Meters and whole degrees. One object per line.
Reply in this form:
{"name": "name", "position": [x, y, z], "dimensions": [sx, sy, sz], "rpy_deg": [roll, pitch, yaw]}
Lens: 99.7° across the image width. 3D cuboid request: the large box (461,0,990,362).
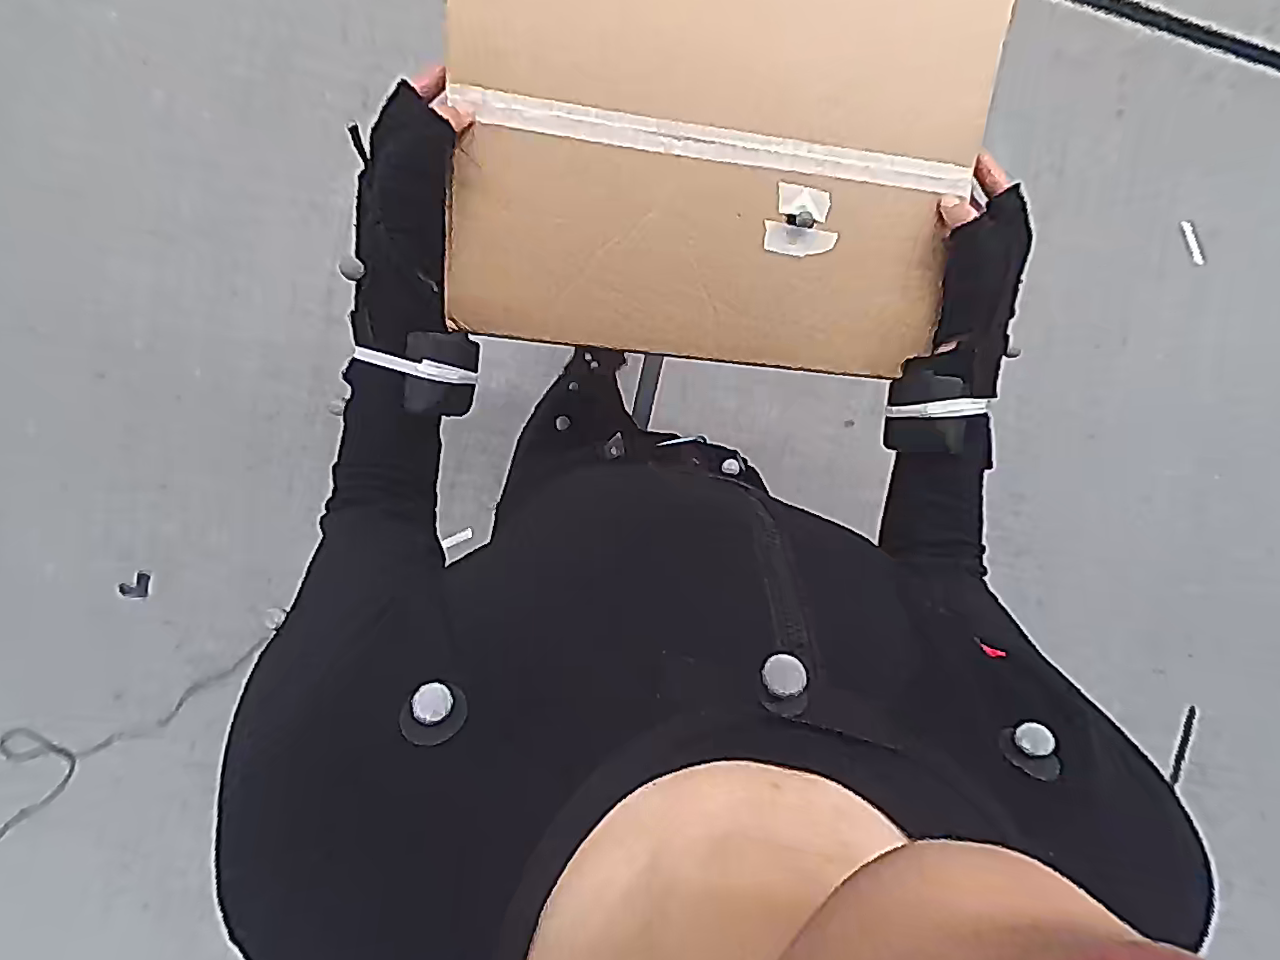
{"name": "large box", "position": [0.045, -0.305, 0.567], "dimensions": [0.408, 0.320, 0.320], "rpy_deg": [4, 106, -9]}
